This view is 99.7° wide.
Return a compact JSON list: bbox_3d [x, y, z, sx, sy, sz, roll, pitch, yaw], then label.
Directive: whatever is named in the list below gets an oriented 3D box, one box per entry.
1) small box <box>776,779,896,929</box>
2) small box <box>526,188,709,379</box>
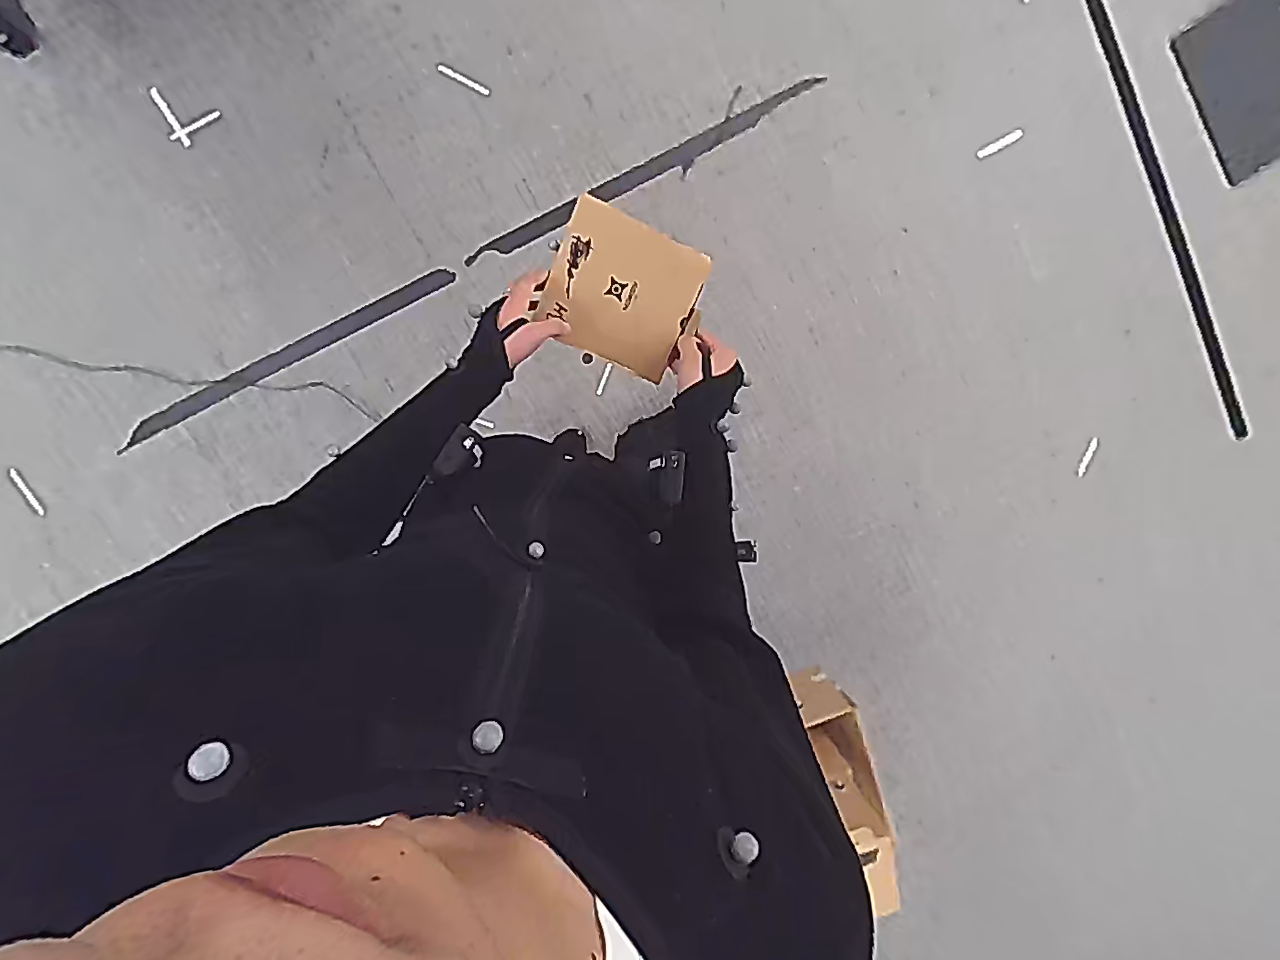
[{"bbox_3d":[0.389,0.743,1.099,0.168,0.176,0.179,-12,100,-4],"label":"small box"},{"bbox_3d":[-0.037,-0.252,0.720,0.179,0.176,0.168,21,102,-14],"label":"small box"}]
